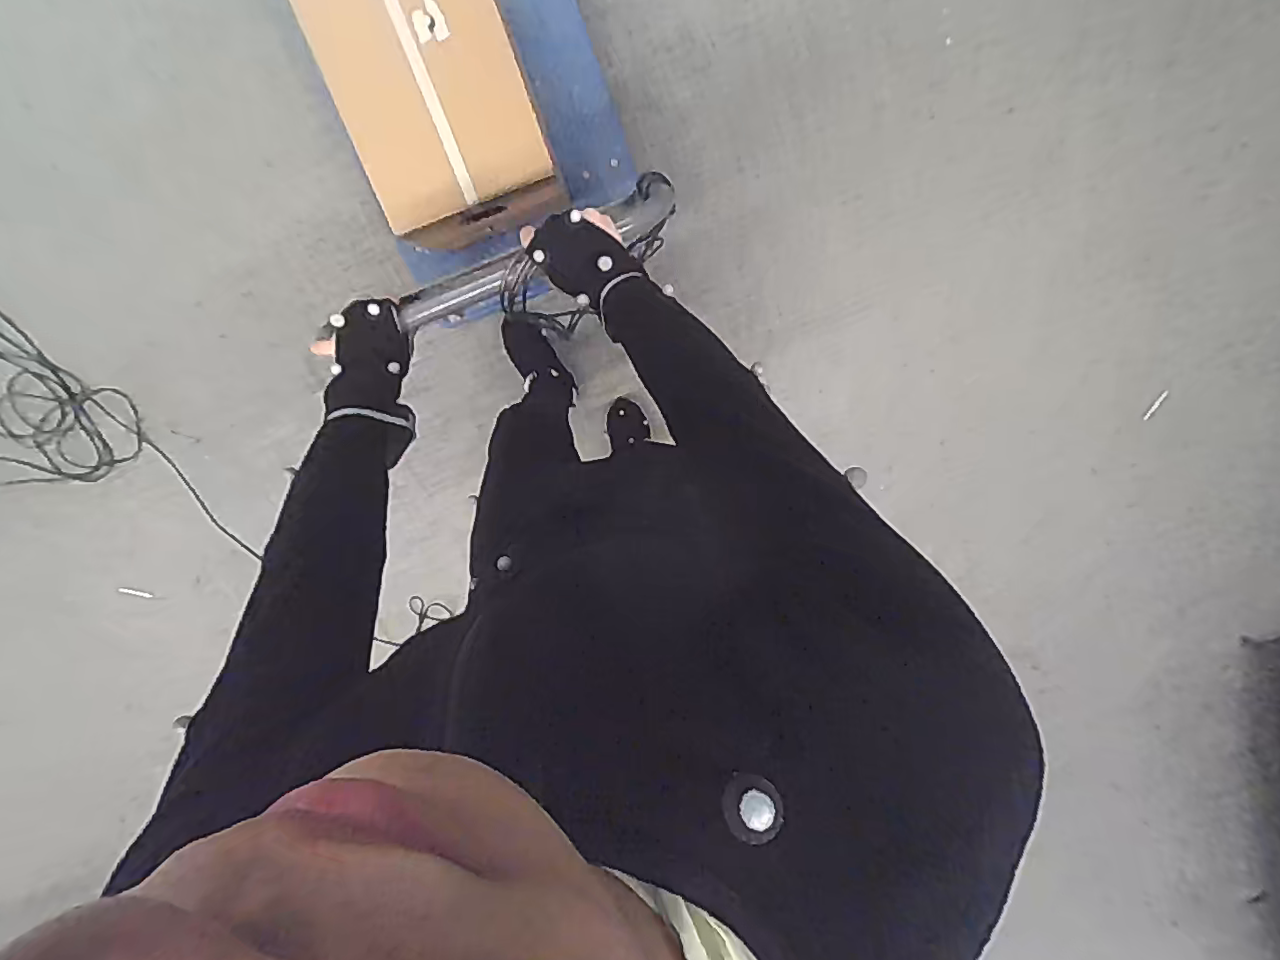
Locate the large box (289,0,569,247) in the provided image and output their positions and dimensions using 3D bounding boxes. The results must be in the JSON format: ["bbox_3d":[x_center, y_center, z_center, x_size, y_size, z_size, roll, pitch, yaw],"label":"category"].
[{"bbox_3d":[-0.360,-0.711,1.027,0.320,0.320,0.408,-18,108,4],"label":"large box"}]
